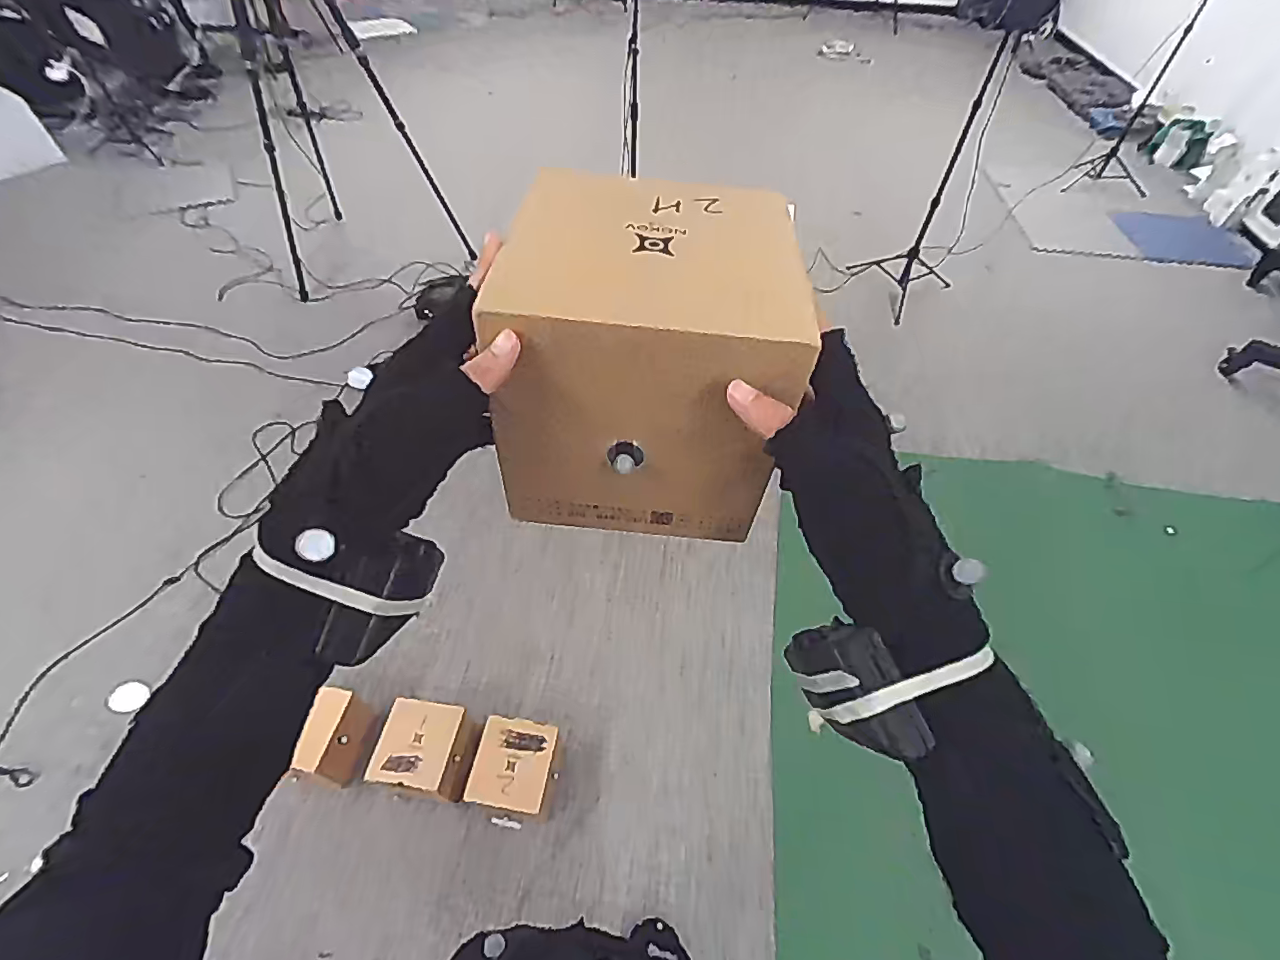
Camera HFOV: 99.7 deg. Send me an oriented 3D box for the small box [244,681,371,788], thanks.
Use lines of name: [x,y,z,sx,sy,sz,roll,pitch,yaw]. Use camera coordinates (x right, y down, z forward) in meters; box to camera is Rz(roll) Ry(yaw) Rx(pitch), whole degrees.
small box: [-0.768,0.603,1.276,0.168,0.176,0.179,7,51,5]

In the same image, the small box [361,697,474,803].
small box: [-0.503,0.631,1.256,0.168,0.176,0.179,6,50,5]
